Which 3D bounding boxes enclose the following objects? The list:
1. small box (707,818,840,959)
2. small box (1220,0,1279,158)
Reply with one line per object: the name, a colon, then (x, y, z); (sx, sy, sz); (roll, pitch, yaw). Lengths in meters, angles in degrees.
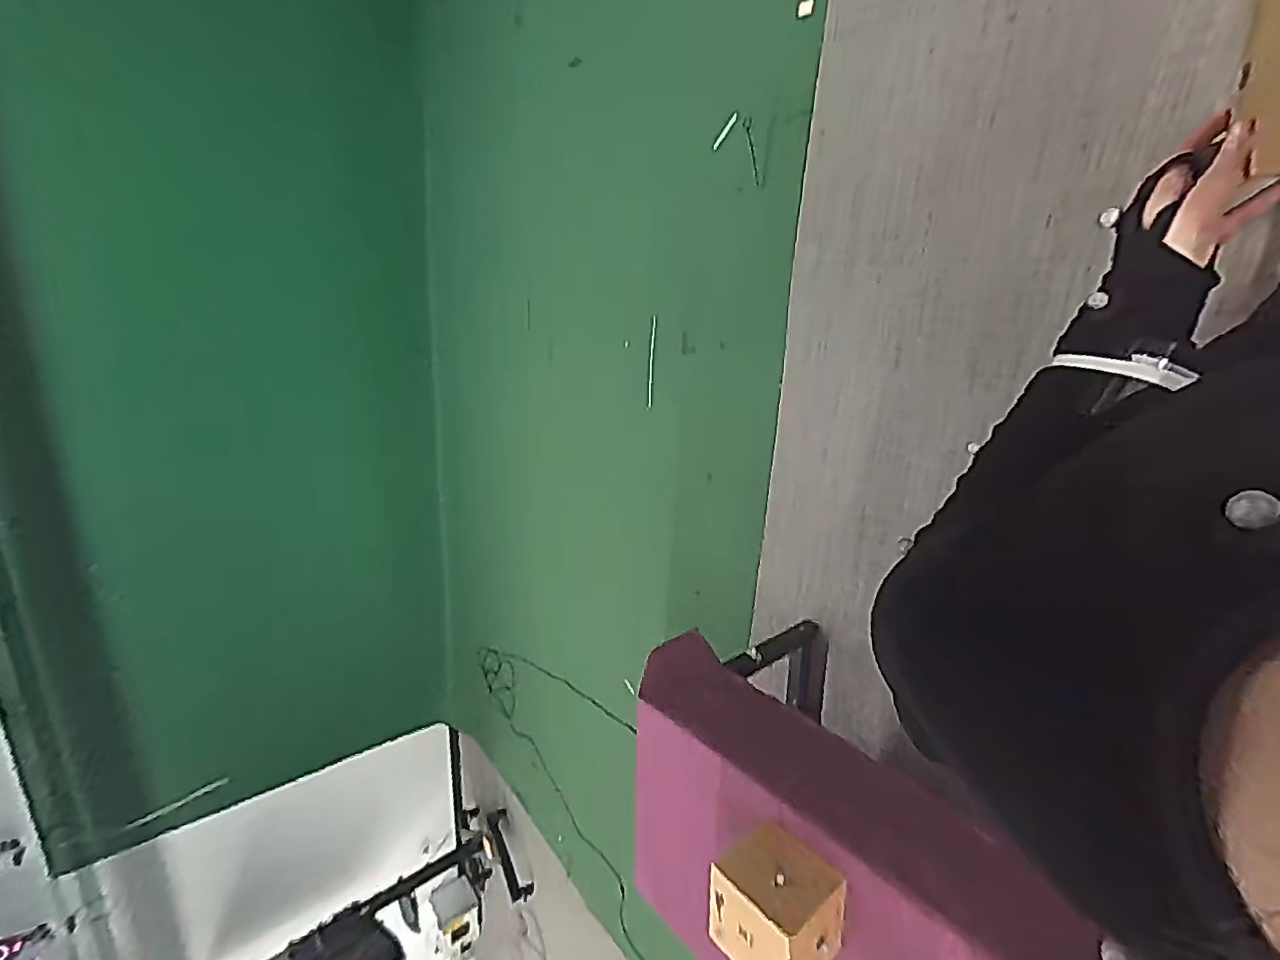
small box: (0.245, 0.771, 0.990); (0.179, 0.176, 0.168); (14, 109, 48)
small box: (0.430, -0.268, 0.256); (0.179, 0.176, 0.168); (2, 115, 32)
